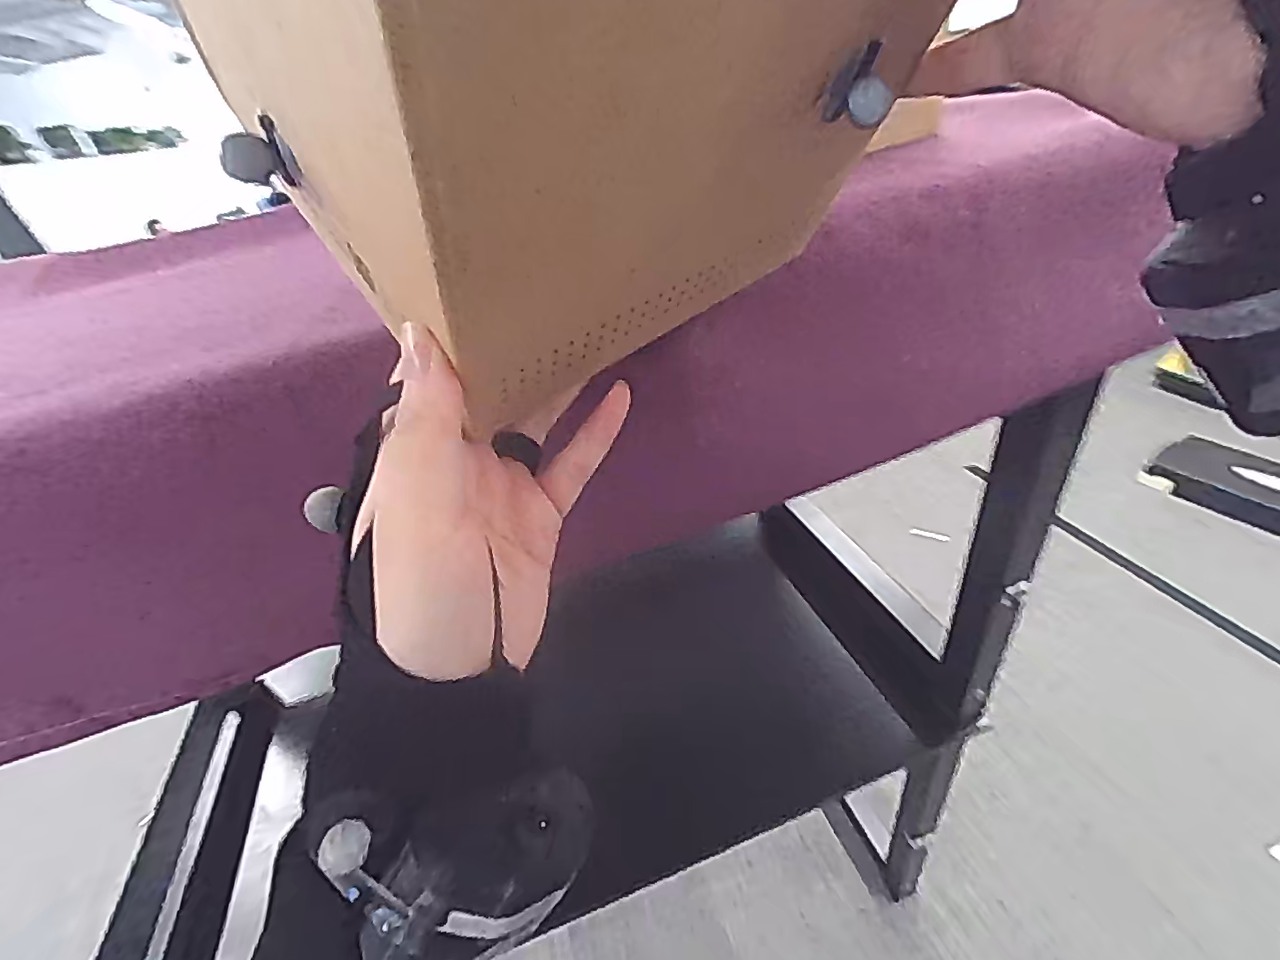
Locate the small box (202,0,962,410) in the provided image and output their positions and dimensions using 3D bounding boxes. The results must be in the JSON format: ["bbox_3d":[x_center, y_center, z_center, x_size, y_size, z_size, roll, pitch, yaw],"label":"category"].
[{"bbox_3d":[-0.021,-0.153,0.154,0.179,0.176,0.168,-35,79,-22],"label":"small box"}]
